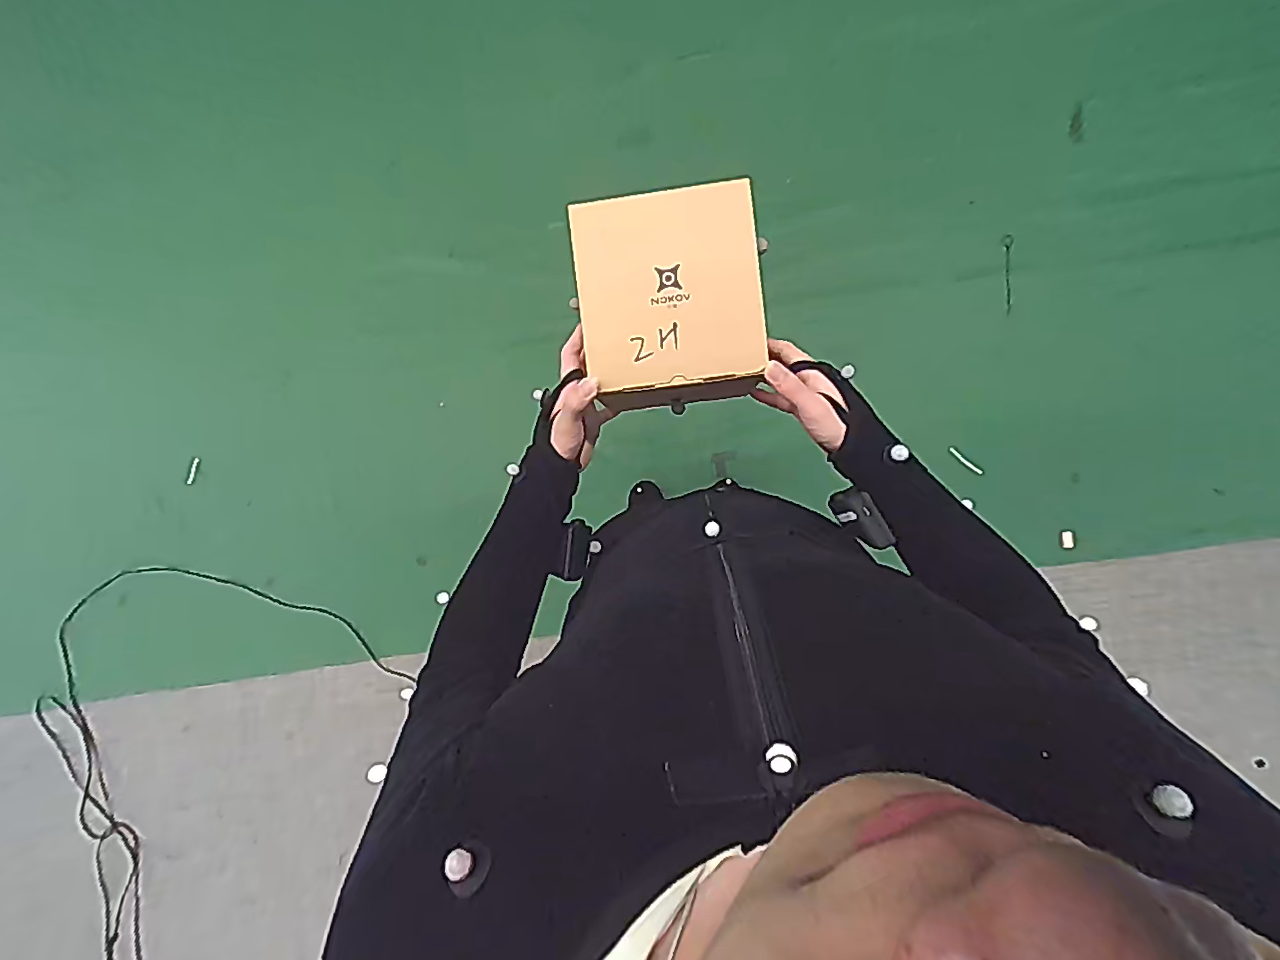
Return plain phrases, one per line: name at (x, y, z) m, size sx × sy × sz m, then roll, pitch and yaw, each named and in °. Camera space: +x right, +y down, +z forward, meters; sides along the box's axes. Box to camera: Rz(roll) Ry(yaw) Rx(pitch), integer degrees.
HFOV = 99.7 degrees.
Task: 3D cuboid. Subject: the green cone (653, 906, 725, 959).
green cone at (0.134, 1.367, 1.432) m, size 0.202 × 0.368 × 0.200 m, roll -8°, pitch 89°, yaw 4°
